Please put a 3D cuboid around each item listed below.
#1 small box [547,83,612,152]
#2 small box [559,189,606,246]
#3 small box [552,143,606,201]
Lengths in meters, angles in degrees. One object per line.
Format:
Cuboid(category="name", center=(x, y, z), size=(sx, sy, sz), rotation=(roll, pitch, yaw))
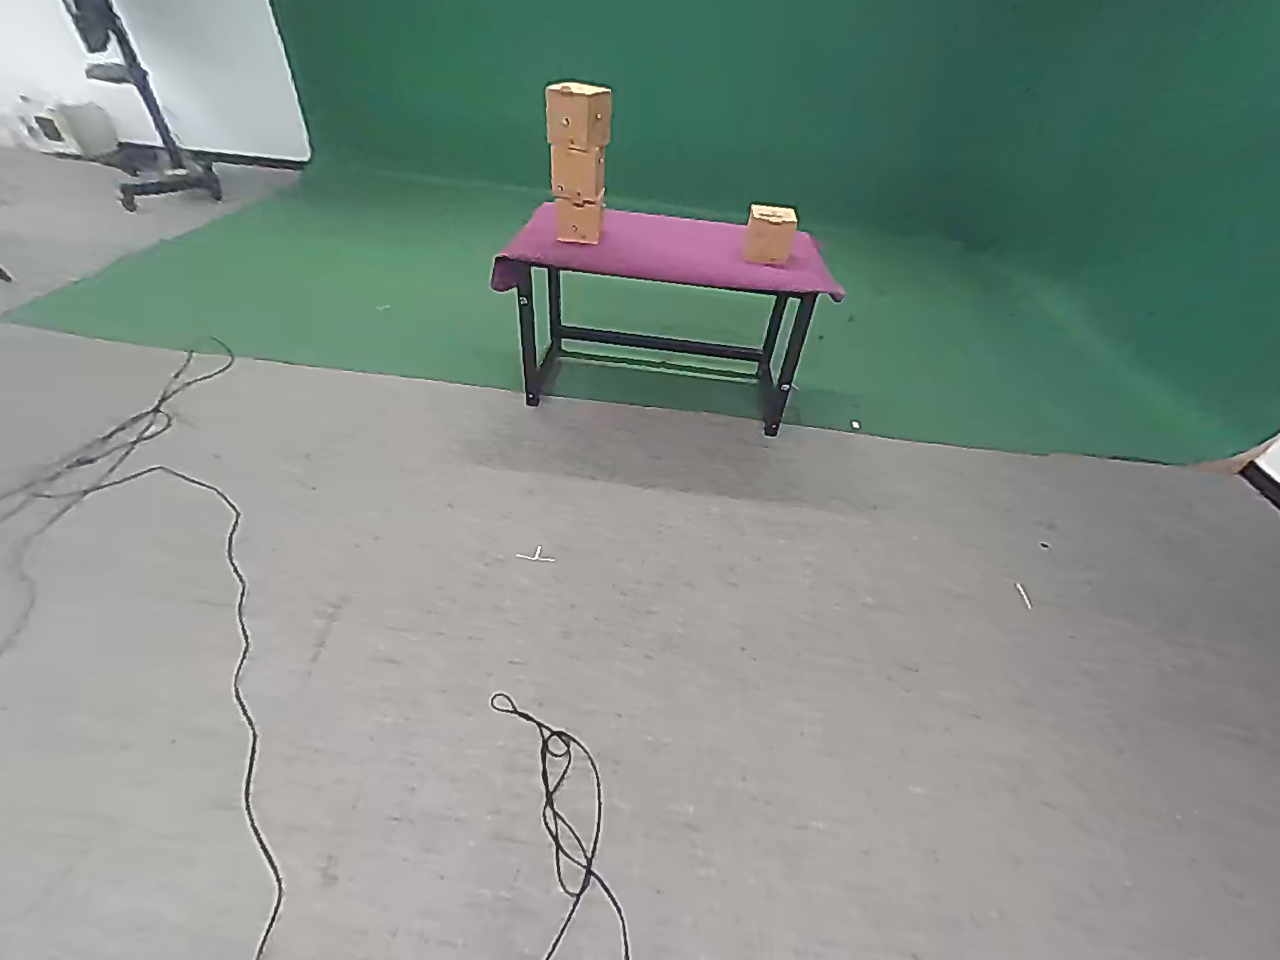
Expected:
Cuboid(category="small box", center=(-0.211, -1.288, 1.923), size=(0.168, 0.176, 0.179), rotation=(22, 47, 15))
Cuboid(category="small box", center=(-0.229, -1.056, 2.156), size=(0.168, 0.176, 0.179), rotation=(6, 43, 0))
Cuboid(category="small box", center=(-0.226, -1.167, 2.033), size=(0.168, 0.176, 0.179), rotation=(10, 43, 3))
